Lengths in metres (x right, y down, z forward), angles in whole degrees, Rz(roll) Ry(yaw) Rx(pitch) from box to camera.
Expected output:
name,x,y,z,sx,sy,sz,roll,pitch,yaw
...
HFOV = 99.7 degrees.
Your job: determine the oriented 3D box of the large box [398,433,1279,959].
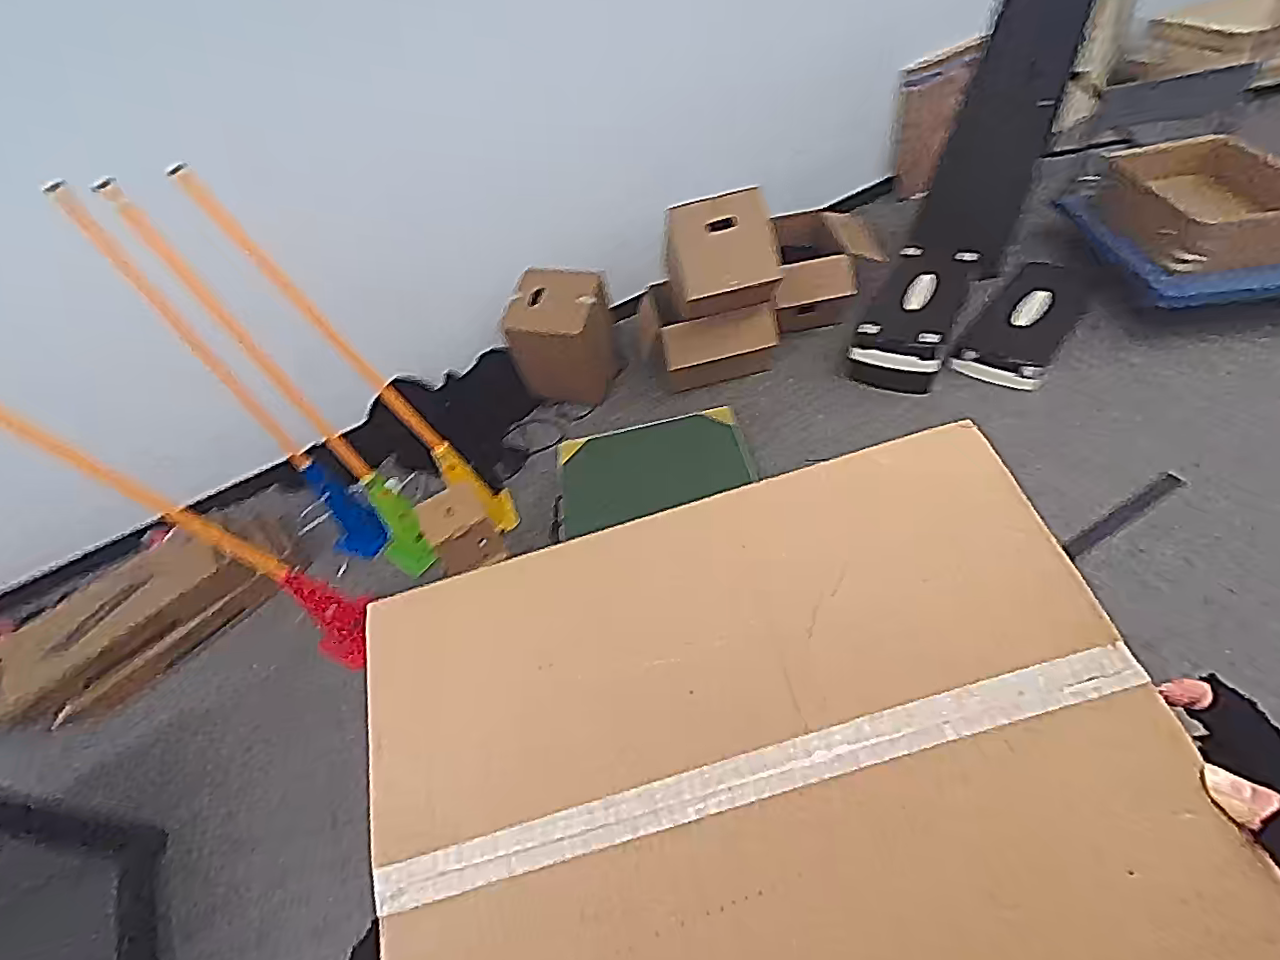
name,x,y,z,sx,sy,sz,roll,pitch,yaw
large box,0.087,0.222,0.418,0.408,0.320,0.320,-17,63,2
